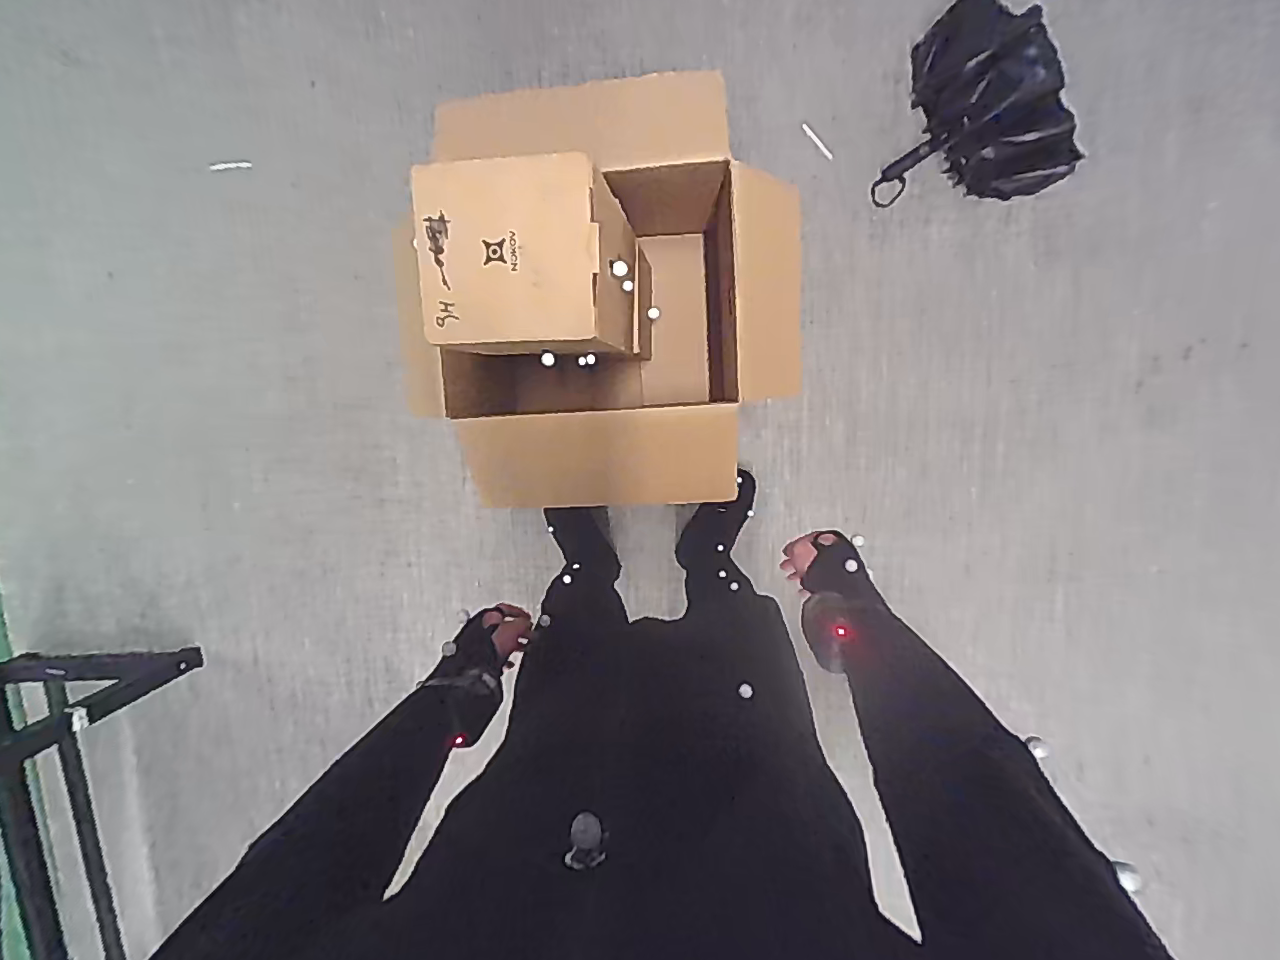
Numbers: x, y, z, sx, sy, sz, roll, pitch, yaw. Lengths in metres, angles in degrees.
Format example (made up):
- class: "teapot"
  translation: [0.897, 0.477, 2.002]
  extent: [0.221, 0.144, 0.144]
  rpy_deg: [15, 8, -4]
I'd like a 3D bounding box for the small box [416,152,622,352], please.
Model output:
- class: "small box"
  translation: [-0.114, -0.229, 0.585]
  extent: [0.179, 0.176, 0.168]
  rpy_deg: [0, 99, 7]
